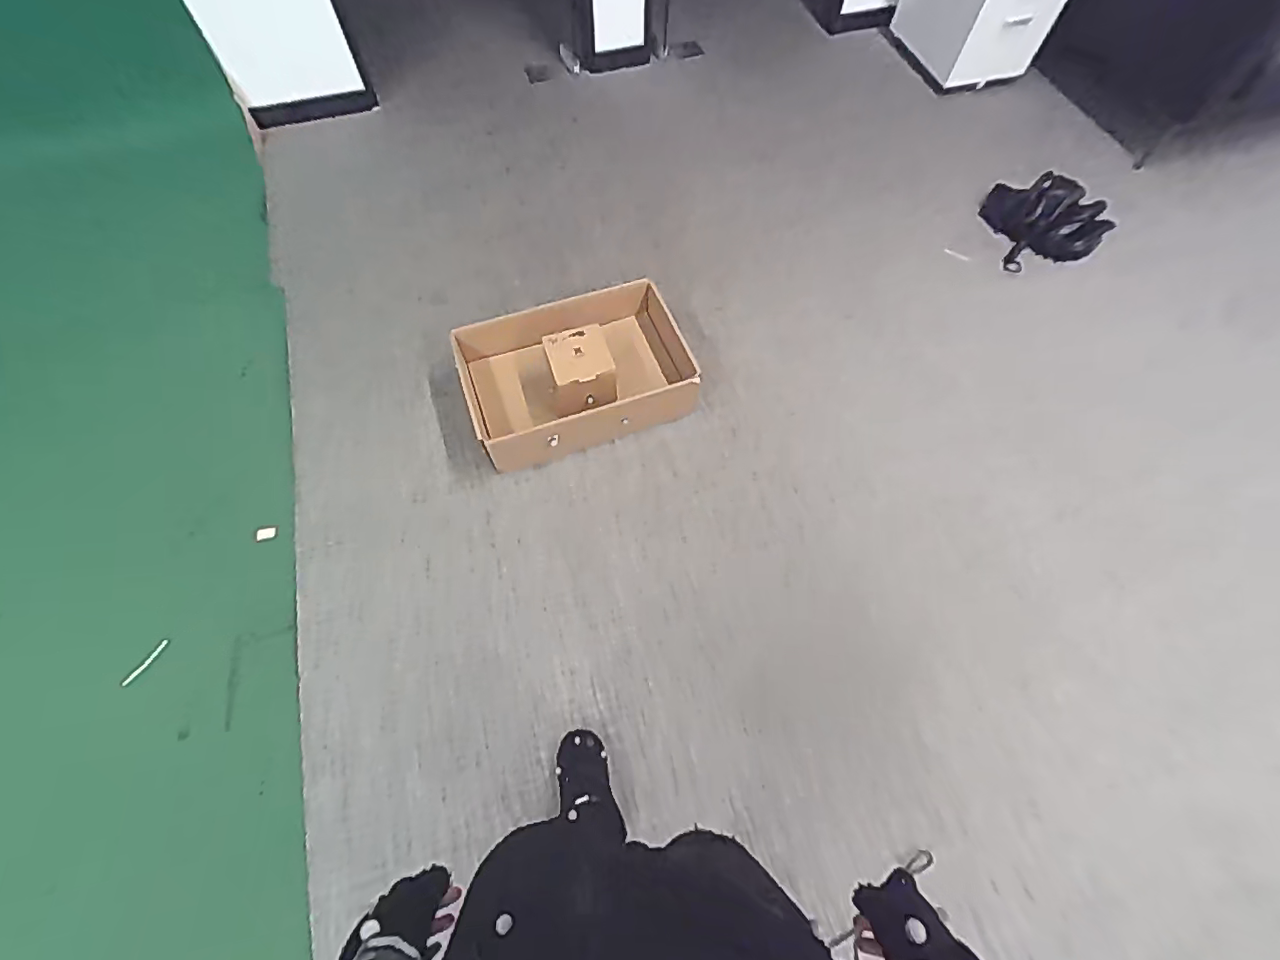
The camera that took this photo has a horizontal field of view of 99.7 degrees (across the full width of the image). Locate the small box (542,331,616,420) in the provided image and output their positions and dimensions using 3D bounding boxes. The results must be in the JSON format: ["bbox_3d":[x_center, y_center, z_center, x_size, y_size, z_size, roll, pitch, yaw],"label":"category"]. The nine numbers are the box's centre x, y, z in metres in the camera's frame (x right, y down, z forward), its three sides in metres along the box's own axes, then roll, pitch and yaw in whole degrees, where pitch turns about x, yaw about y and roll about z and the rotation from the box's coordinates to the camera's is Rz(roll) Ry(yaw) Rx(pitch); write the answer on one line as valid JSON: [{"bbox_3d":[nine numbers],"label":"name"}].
[{"bbox_3d":[-0.169,-0.288,1.536,0.168,0.176,0.179,-16,65,-9],"label":"small box"}]
